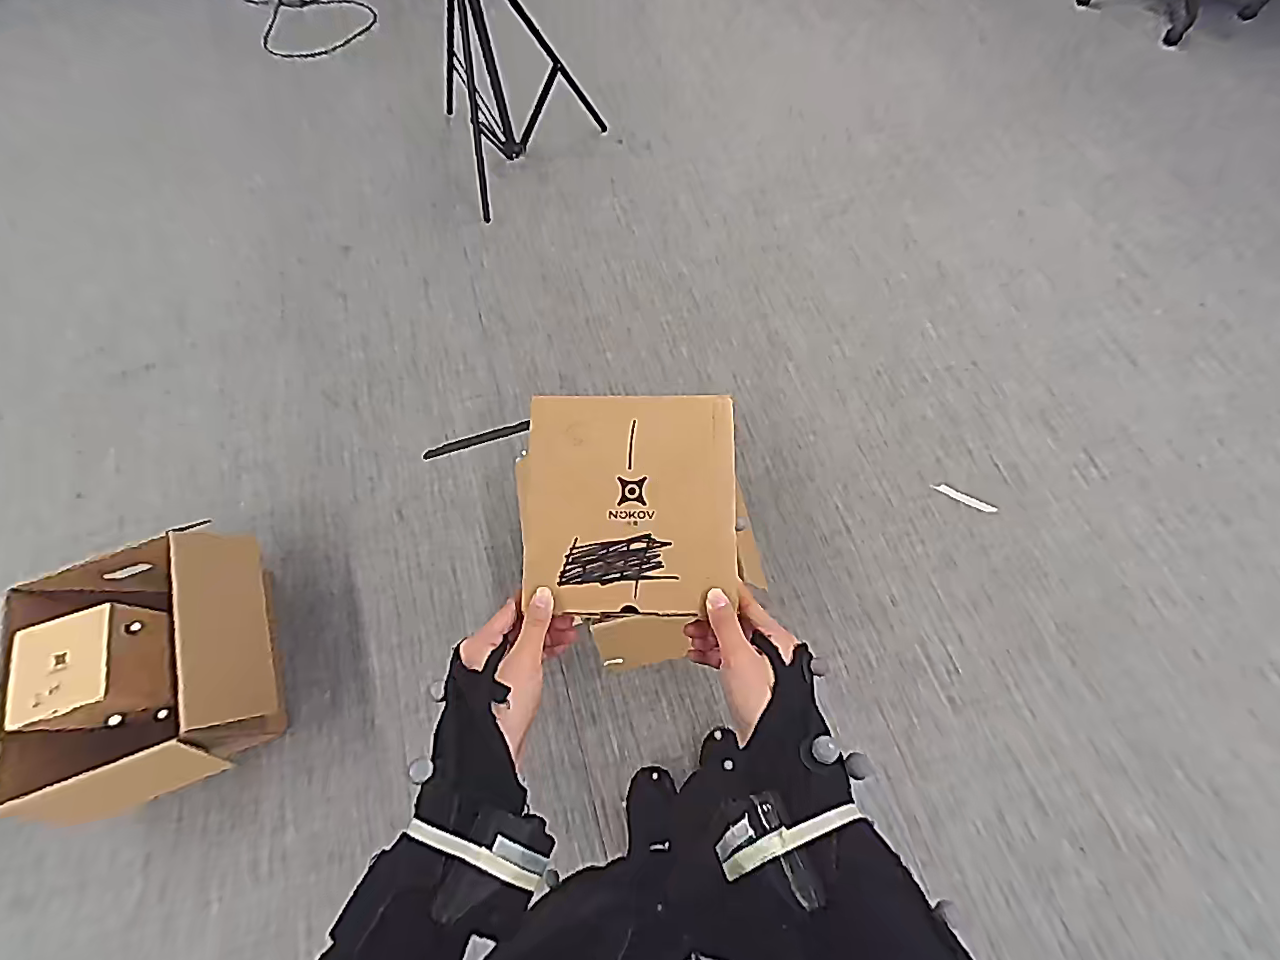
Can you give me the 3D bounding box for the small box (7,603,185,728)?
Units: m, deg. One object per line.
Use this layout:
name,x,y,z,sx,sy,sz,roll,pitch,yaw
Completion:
small box,-1.011,0.355,1.024,0.168,0.176,0.179,-18,67,-5

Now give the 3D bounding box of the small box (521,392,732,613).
small box,-0.006,0.029,0.504,0.168,0.176,0.179,0,78,2
